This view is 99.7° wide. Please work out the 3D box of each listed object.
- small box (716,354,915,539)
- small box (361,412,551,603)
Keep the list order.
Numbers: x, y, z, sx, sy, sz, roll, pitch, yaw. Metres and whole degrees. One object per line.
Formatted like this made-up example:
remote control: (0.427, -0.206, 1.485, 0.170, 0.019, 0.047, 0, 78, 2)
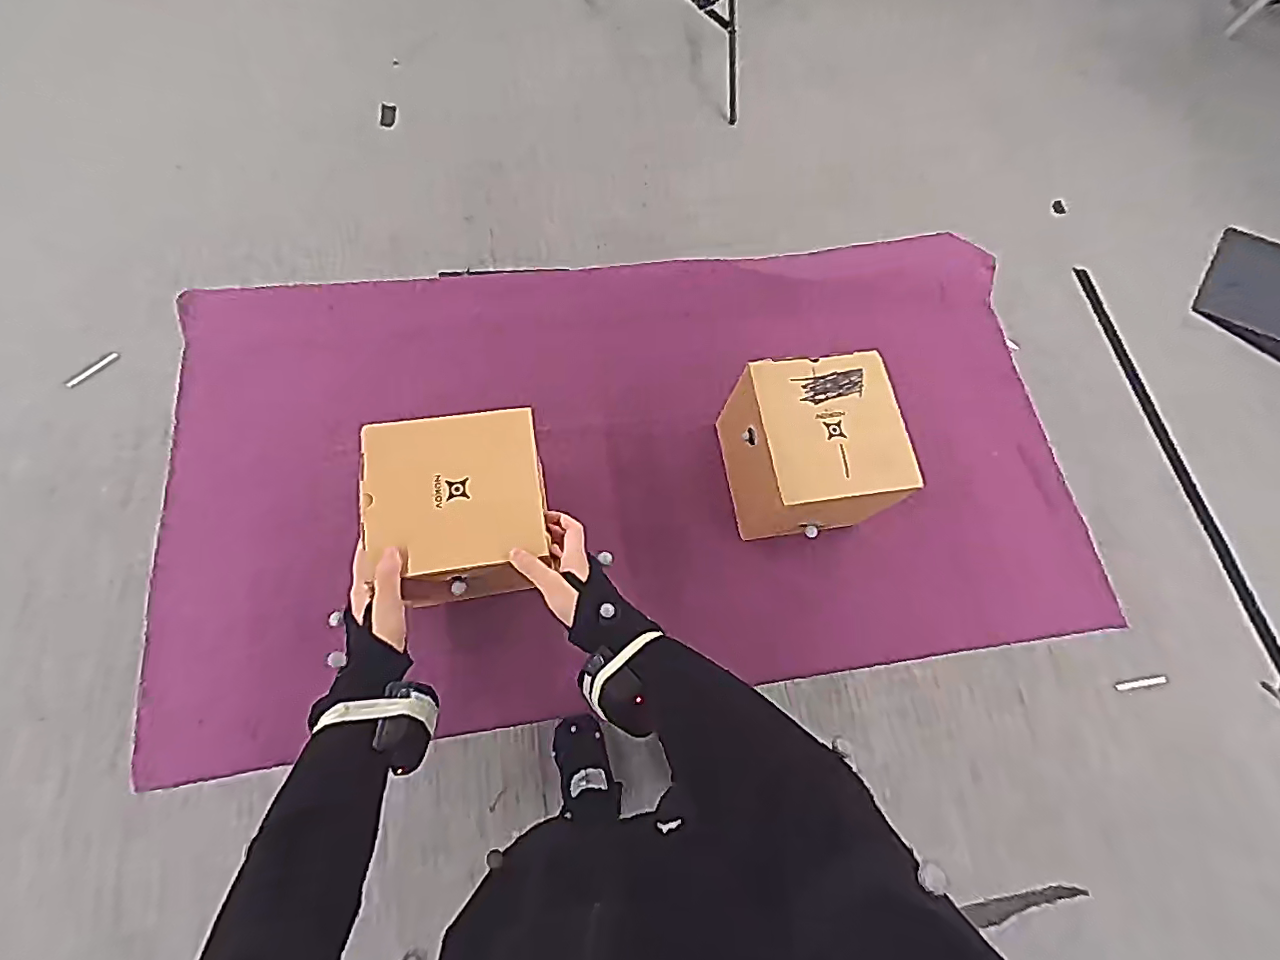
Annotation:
small box: (0.204, -0.036, 0.686, 0.168, 0.176, 0.179, -7, 72, -8)
small box: (-0.198, 0.039, 0.620, 0.179, 0.176, 0.168, -8, 71, -8)
